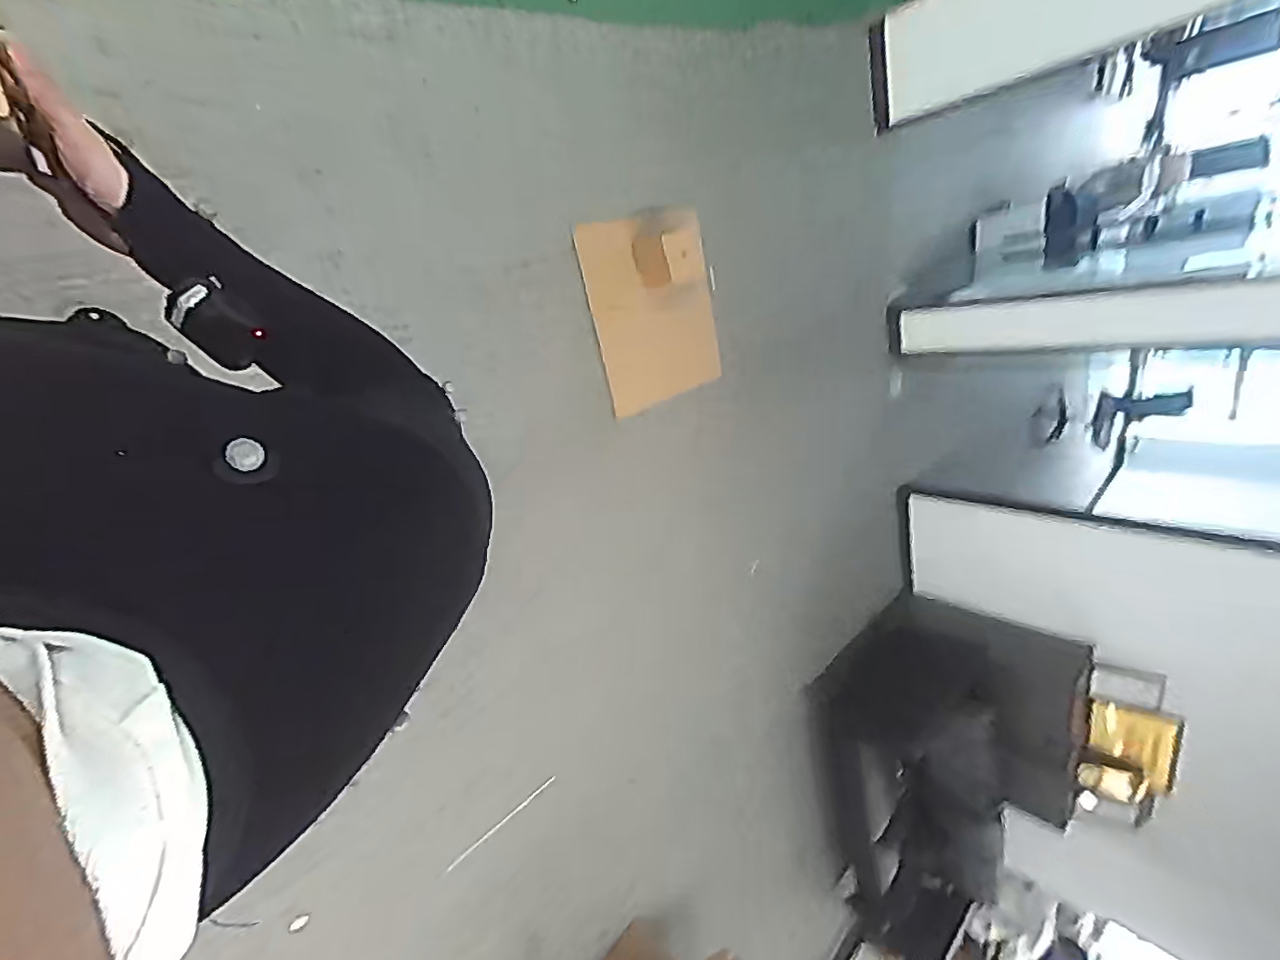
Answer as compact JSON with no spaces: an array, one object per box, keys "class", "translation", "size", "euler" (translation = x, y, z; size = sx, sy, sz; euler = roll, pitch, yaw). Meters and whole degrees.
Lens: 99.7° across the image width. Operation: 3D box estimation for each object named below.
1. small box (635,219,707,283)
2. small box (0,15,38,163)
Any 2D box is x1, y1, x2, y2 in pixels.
[{"class":"small box","translation":[0.112,-0.833,1.973],"size":[0.179,0.176,0.168],"euler":[-34,119,-30]},{"class":"small box","translation":[-0.524,-0.319,0.336],"size":[0.168,0.176,0.179],"euler":[-17,112,-41]}]
